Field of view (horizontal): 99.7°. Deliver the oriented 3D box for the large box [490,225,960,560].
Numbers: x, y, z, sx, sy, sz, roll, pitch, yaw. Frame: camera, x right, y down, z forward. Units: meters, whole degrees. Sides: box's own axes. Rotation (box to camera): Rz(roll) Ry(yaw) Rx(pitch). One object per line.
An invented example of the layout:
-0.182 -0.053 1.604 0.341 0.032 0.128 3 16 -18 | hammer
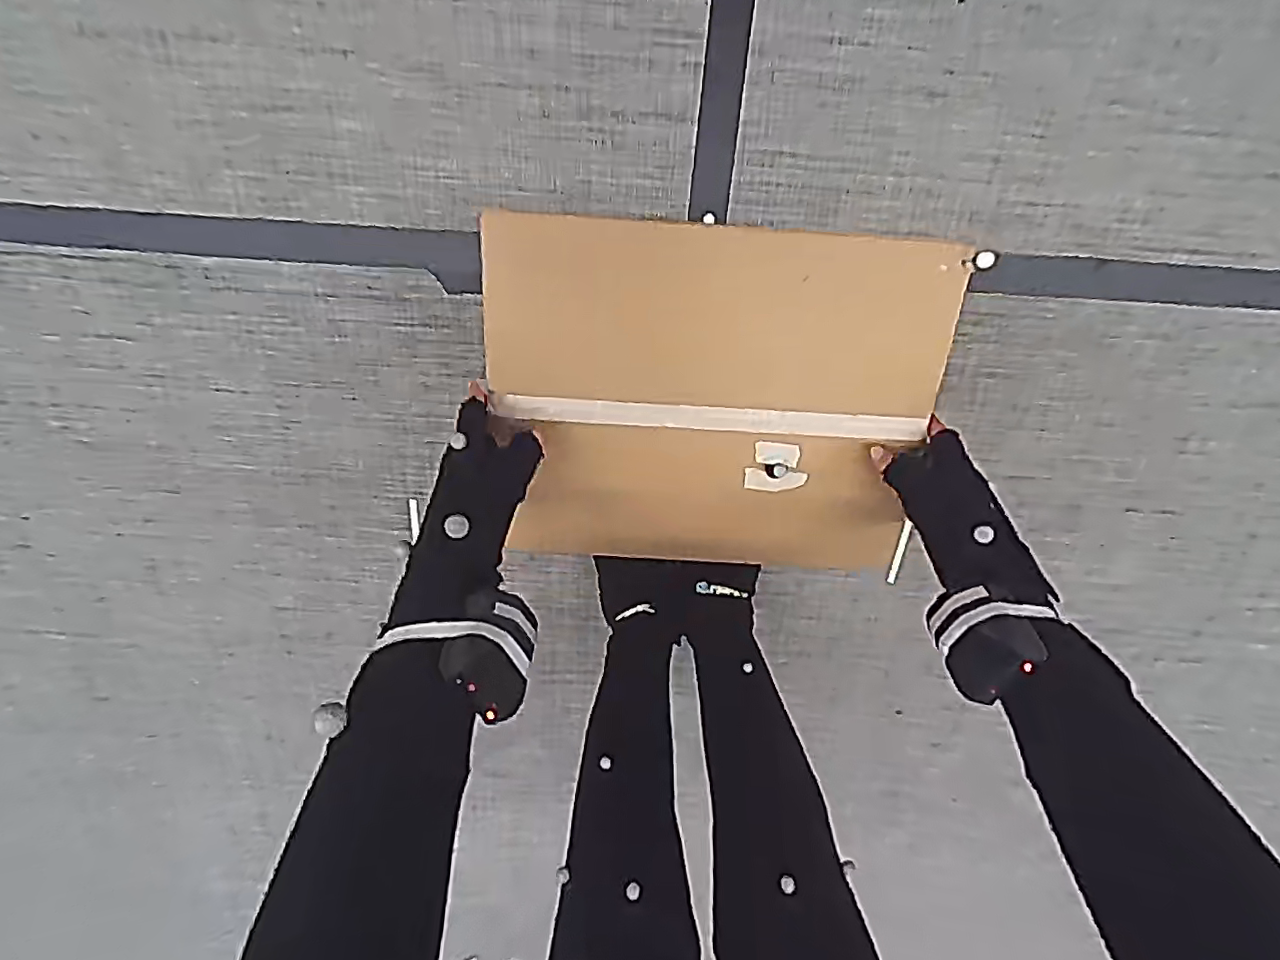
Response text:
0.064 -0.118 0.644 0.408 0.320 0.320 3 114 -2 | large box
